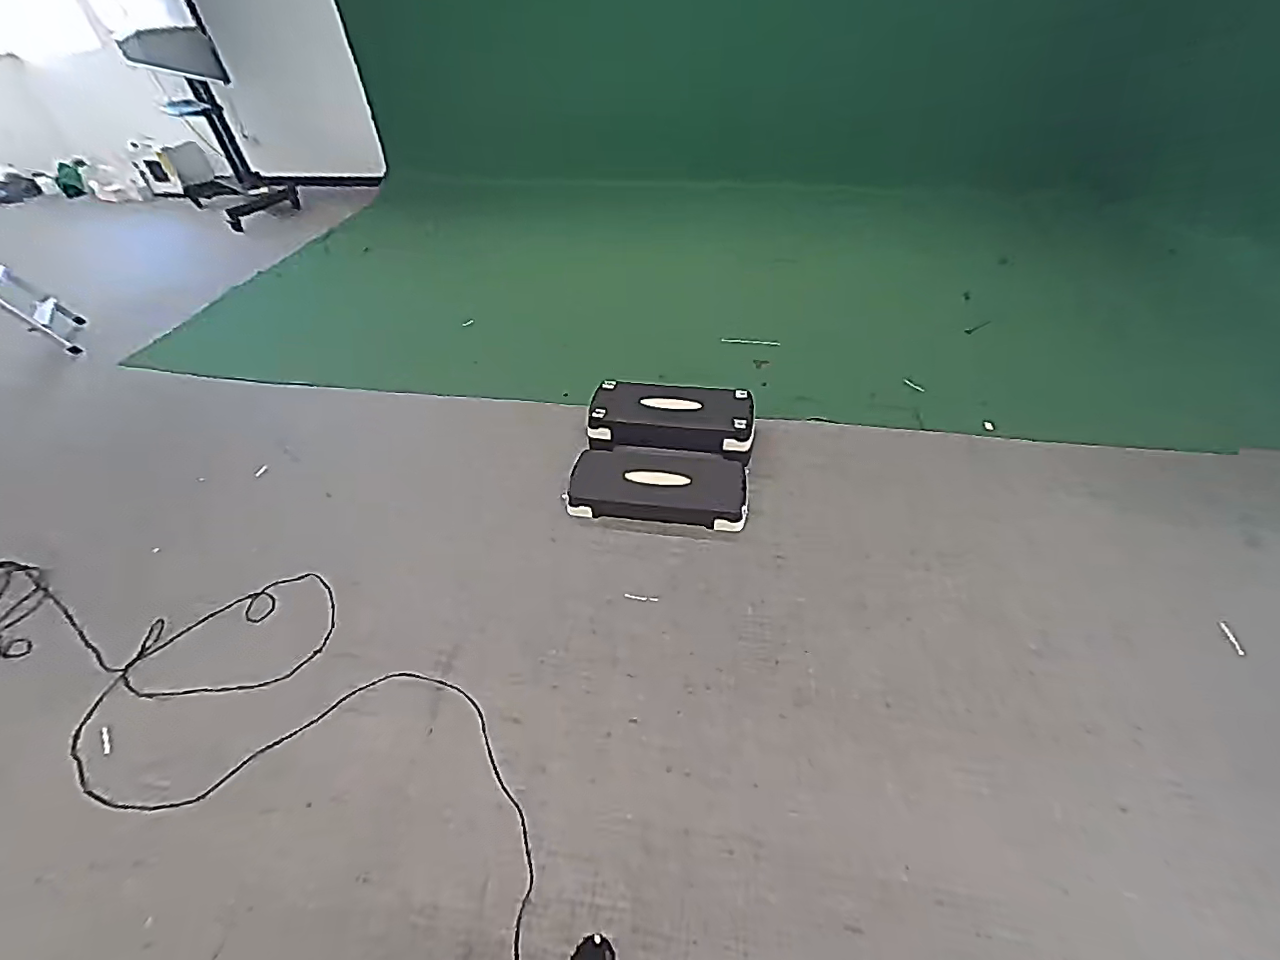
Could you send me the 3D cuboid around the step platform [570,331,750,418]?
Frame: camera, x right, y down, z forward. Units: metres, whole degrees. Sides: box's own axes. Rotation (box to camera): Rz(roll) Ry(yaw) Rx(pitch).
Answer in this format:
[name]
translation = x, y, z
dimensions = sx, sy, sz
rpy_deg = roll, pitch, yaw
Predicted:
[step platform]
translation = 0.080, -0.418, 2.132
dimensions = 0.684, 0.204, 0.286
rpy_deg = 5, 46, 8
